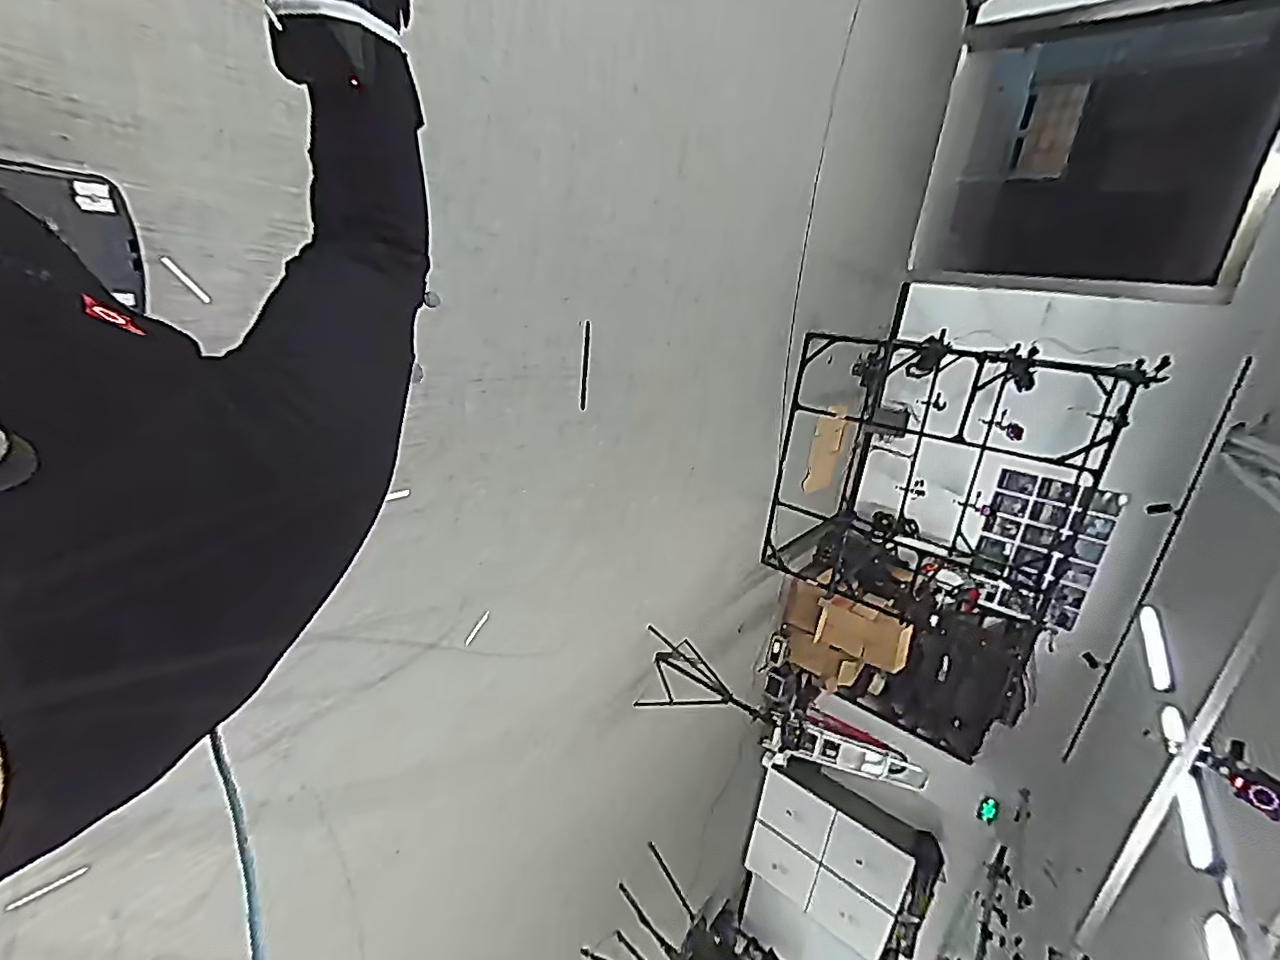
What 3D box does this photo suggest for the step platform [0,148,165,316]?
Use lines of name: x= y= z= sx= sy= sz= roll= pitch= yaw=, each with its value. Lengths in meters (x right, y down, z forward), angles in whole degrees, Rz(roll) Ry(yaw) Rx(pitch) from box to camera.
step platform: x=-1.254 y=-0.431 z=0.907 sx=0.684 sy=0.204 sz=0.286 roll=-20 pitch=122 yaw=-49
